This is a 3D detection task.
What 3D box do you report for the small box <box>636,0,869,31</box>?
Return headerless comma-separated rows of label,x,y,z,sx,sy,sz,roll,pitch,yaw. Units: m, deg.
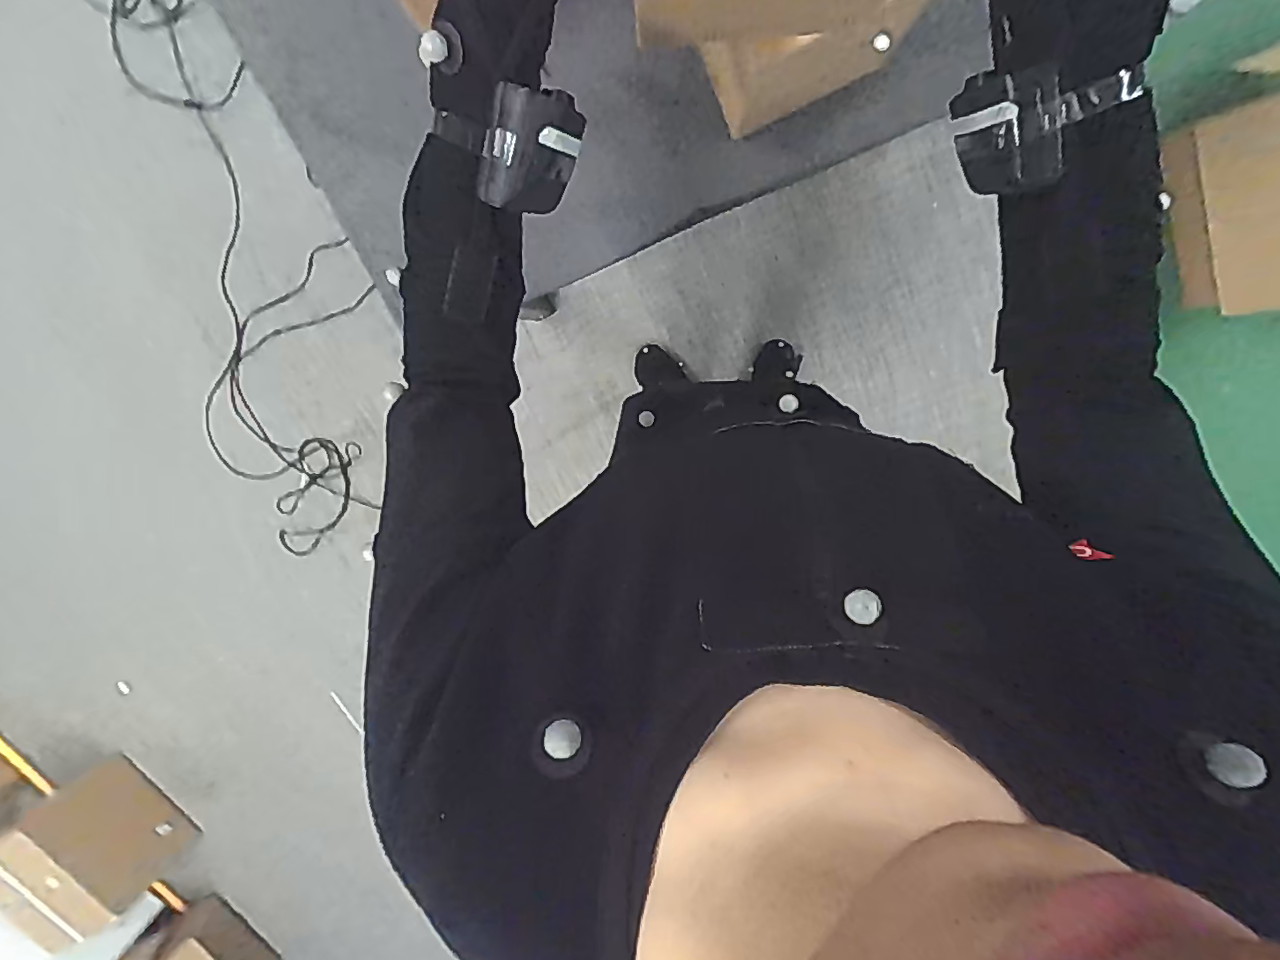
small box,0.083,-0.393,0.311,0.179,0.176,0.168,-2,111,1
